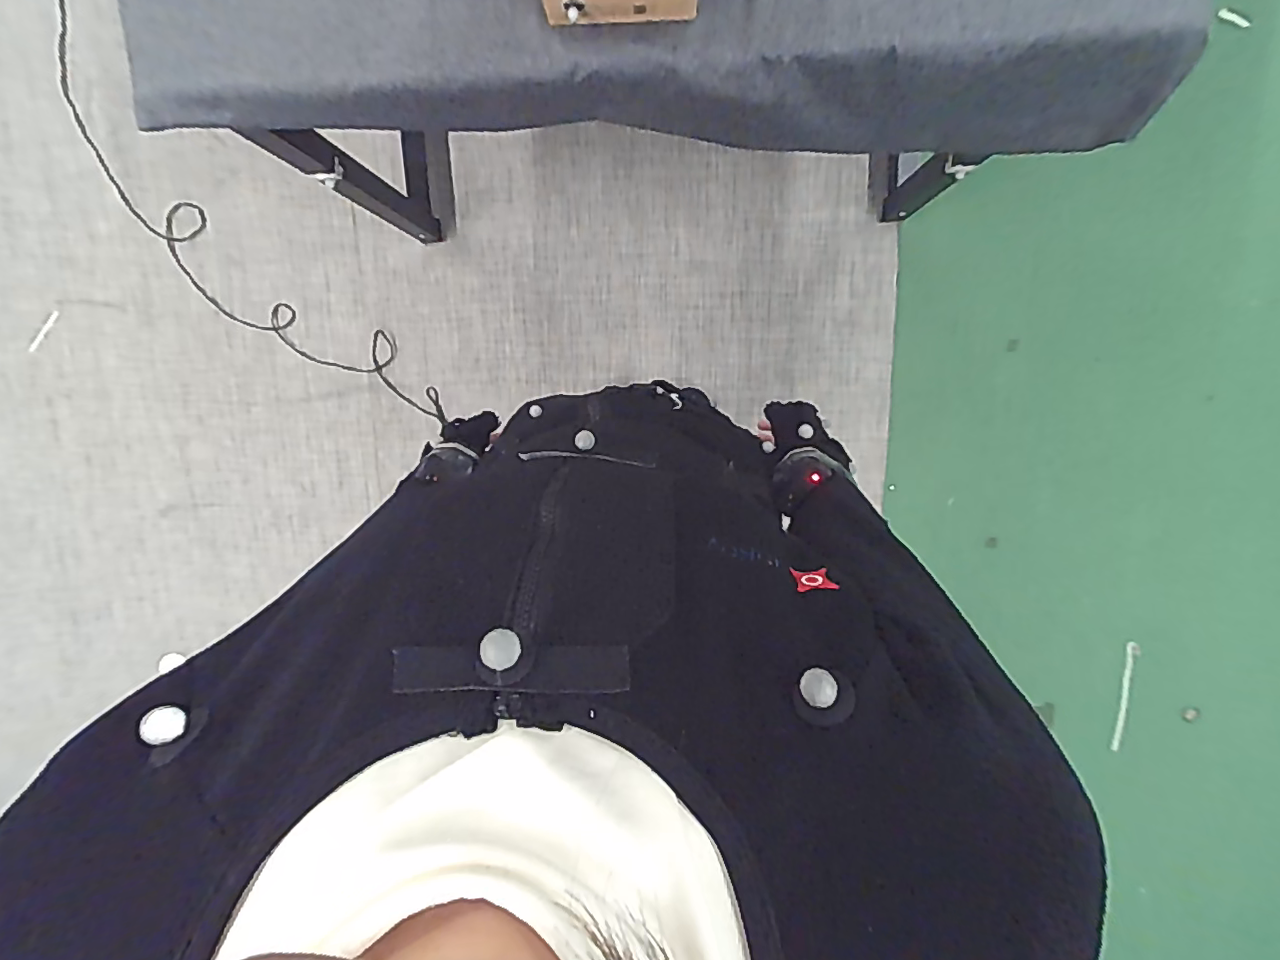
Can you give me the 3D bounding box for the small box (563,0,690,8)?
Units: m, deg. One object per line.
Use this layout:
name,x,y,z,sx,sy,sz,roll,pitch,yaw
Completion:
small box,-0.024,-0.601,0.520,0.168,0.176,0.179,0,98,3
